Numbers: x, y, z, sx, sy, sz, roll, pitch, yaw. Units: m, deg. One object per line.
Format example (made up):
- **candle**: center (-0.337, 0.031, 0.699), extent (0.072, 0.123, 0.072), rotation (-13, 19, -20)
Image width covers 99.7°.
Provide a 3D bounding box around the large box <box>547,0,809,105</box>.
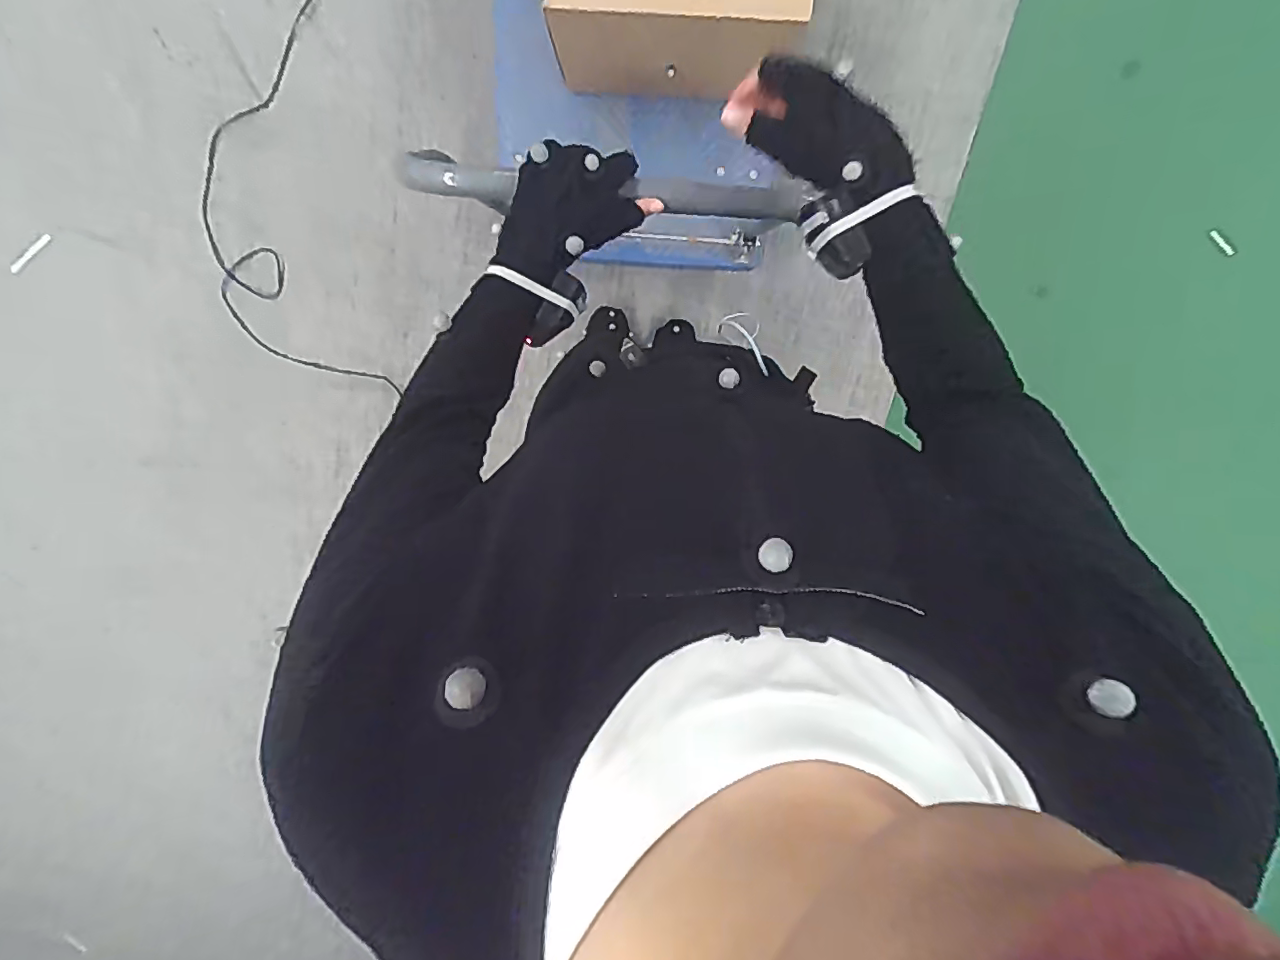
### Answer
- **large box**: center (0.065, -0.879, 0.929), extent (0.408, 0.320, 0.320), rotation (3, 105, 1)
